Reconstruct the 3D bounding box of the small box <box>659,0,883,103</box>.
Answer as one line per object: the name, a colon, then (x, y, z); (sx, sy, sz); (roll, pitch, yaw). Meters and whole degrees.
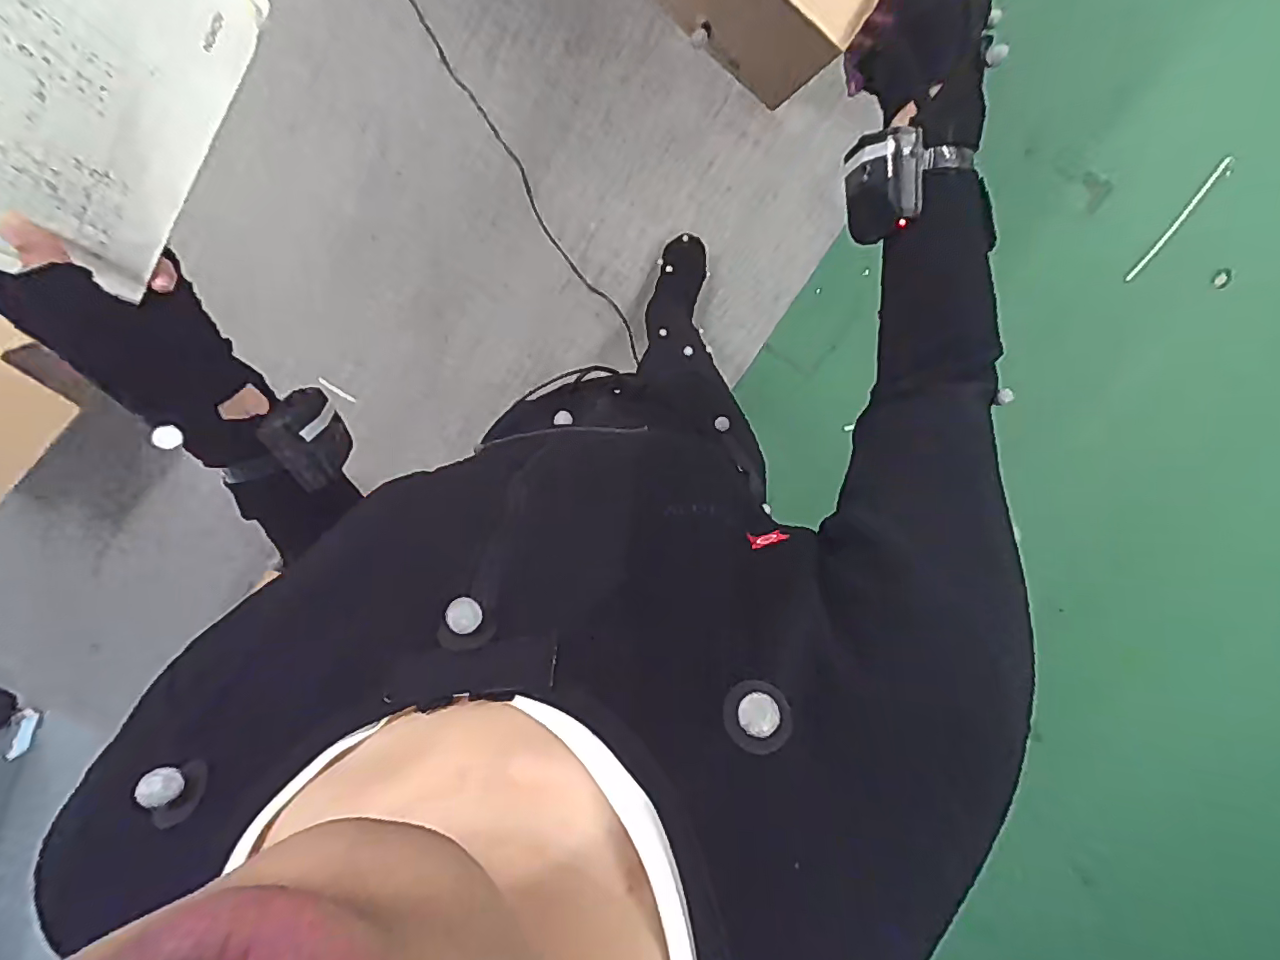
small box: (0.130, -0.461, 0.440); (0.168, 0.176, 0.179); (31, 105, -17)
